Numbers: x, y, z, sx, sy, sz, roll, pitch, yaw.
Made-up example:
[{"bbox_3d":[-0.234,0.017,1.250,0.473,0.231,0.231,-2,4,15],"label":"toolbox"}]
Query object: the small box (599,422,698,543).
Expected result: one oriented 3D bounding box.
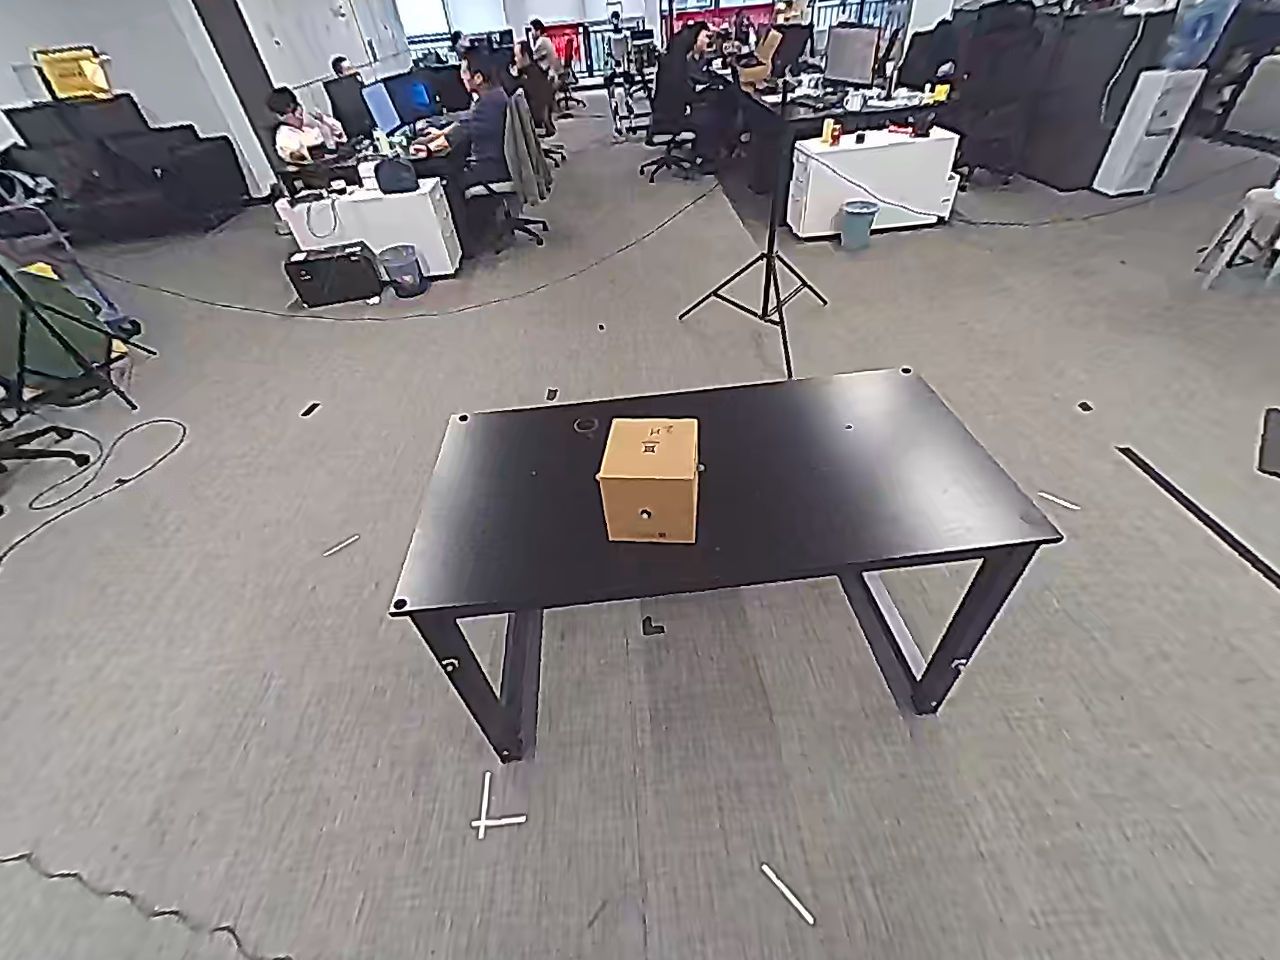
[{"bbox_3d":[0.025,0.006,1.045,0.168,0.176,0.179,1,42,8],"label":"small box"}]
